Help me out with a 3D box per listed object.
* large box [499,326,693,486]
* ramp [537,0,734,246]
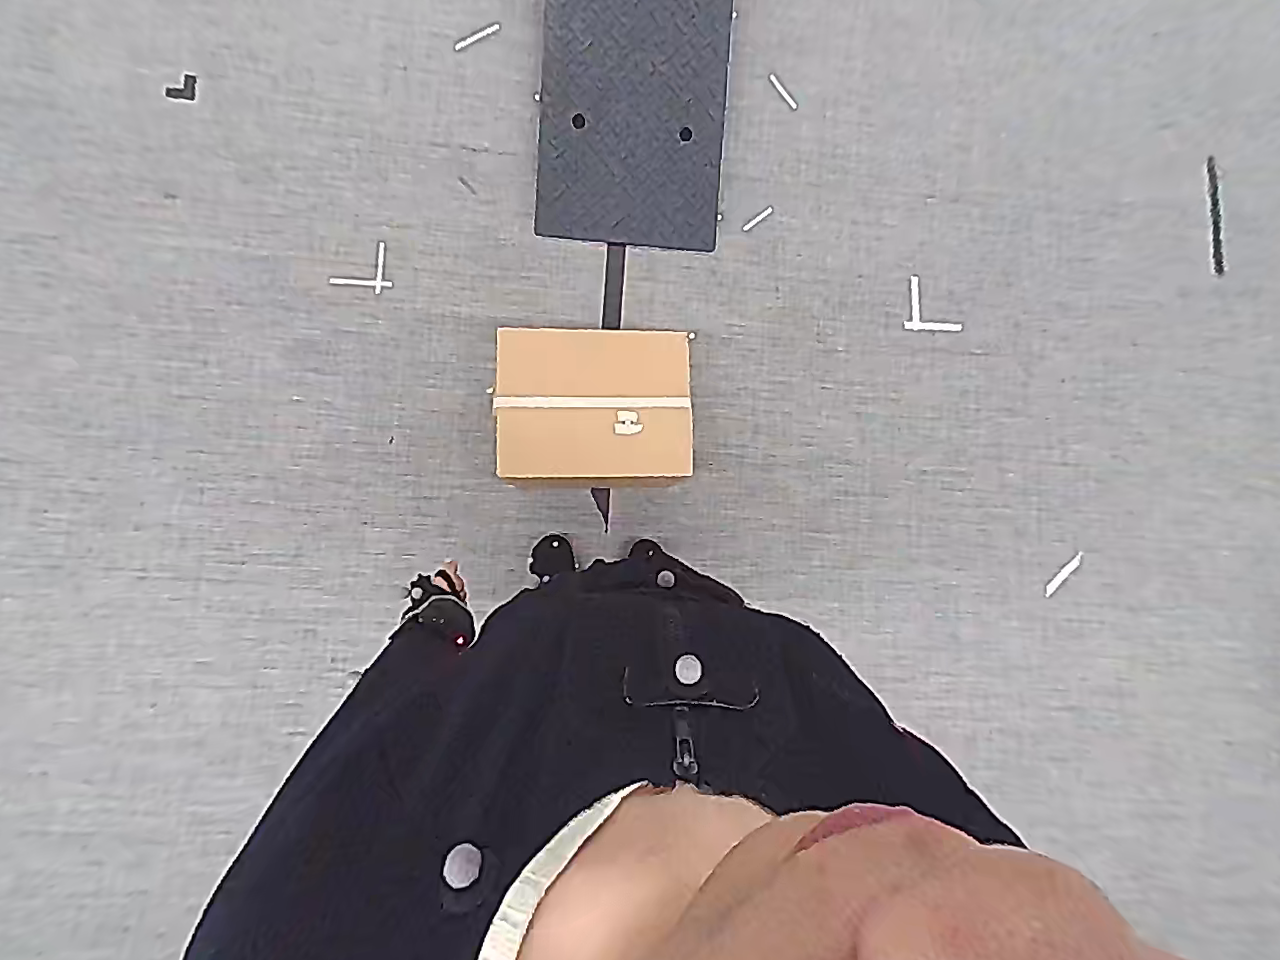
[{"bbox_3d":[-0.108,-0.154,1.268,0.408,0.320,0.320,0,86,-7],"label":"large box"},{"bbox_3d":[0.001,-1.148,1.415,0.509,0.206,0.991,2,86,-7],"label":"ramp"}]
